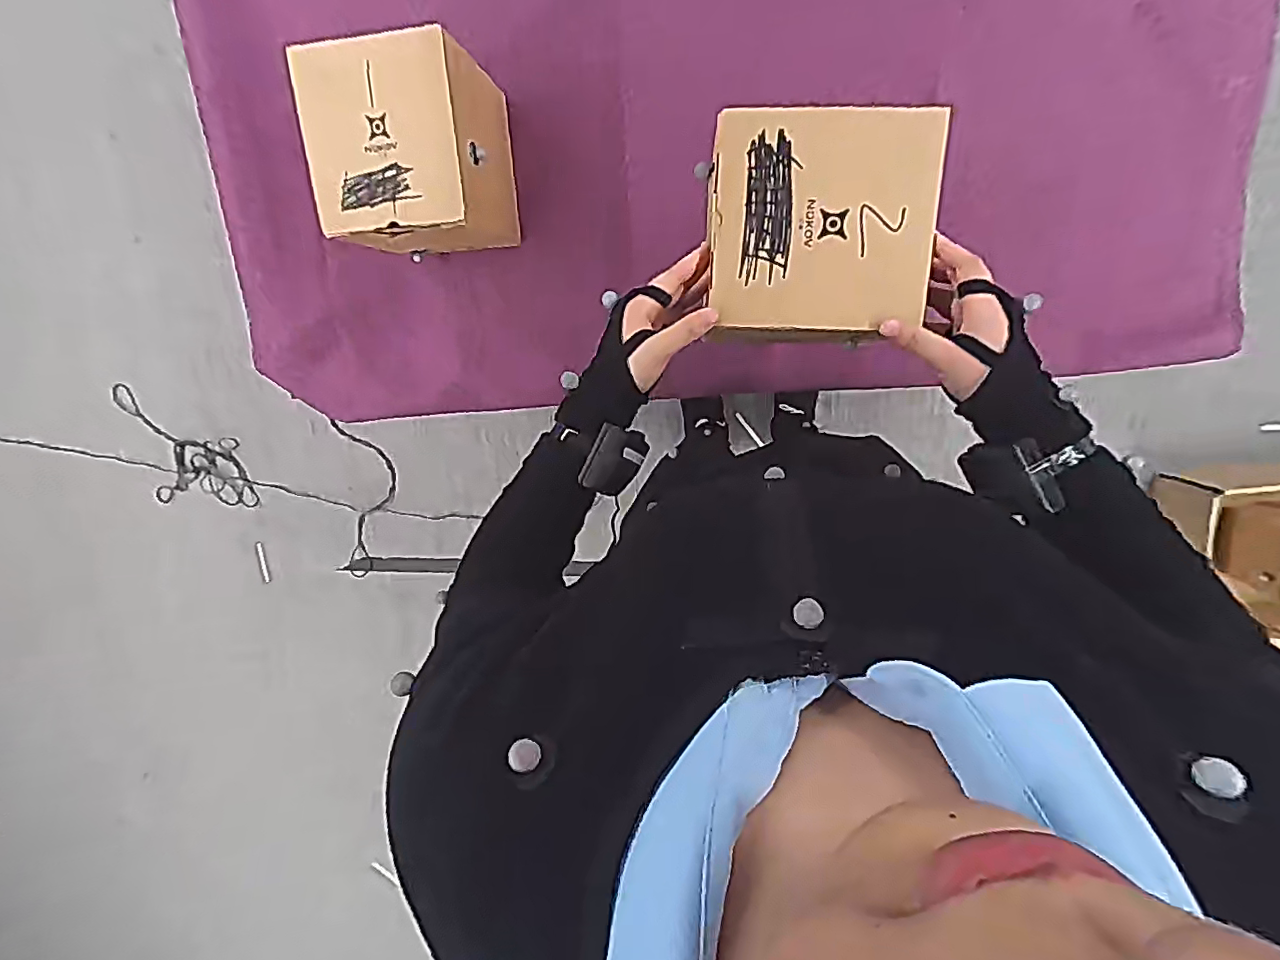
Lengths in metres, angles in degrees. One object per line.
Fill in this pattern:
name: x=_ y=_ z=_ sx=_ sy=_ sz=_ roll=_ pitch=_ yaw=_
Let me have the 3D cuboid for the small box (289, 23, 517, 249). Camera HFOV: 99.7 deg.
small box: x=-0.251 y=-0.369 z=0.620 sx=0.168 sy=0.176 sz=0.179 roll=-1 pitch=105 yaw=8

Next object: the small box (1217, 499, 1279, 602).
small box: x=1.484 y=0.155 z=1.231 sx=0.168 sy=0.176 sz=0.179 roll=-7 pitch=105 yaw=9
